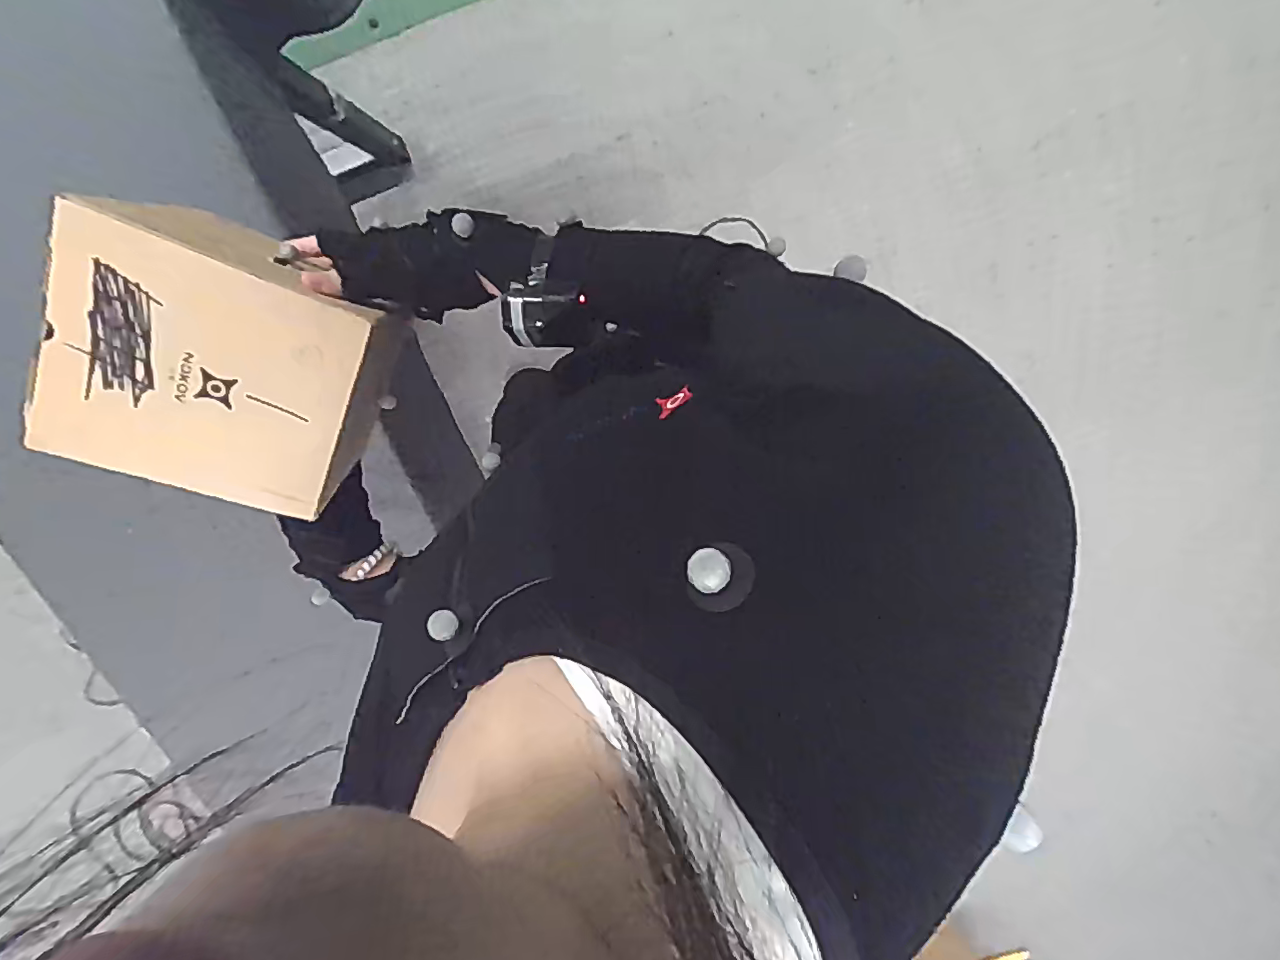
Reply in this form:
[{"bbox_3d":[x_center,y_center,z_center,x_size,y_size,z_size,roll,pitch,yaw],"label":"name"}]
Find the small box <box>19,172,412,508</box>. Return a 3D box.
[{"bbox_3d":[-0.305,-0.107,0.429,0.179,0.176,0.168,21,107,-20],"label":"small box"}]
